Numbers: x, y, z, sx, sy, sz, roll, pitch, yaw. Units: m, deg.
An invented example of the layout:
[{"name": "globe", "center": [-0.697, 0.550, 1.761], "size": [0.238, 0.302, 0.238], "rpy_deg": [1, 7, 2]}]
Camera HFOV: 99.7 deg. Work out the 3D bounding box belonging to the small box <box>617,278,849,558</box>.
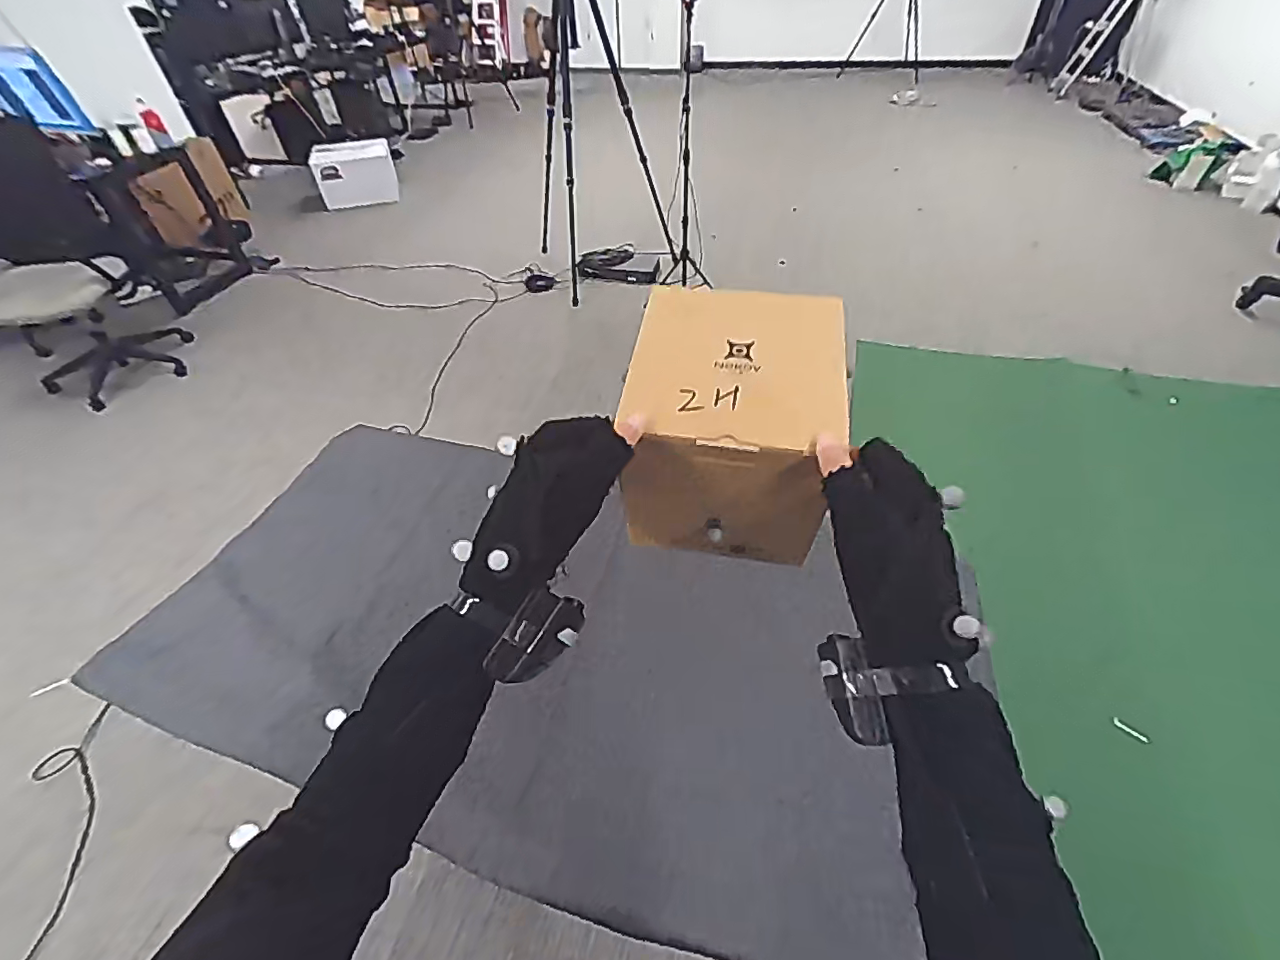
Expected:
[{"name": "small box", "center": [0.082, -0.054, 0.487], "size": [0.168, 0.176, 0.179], "rpy_deg": [7, 56, 9]}]
